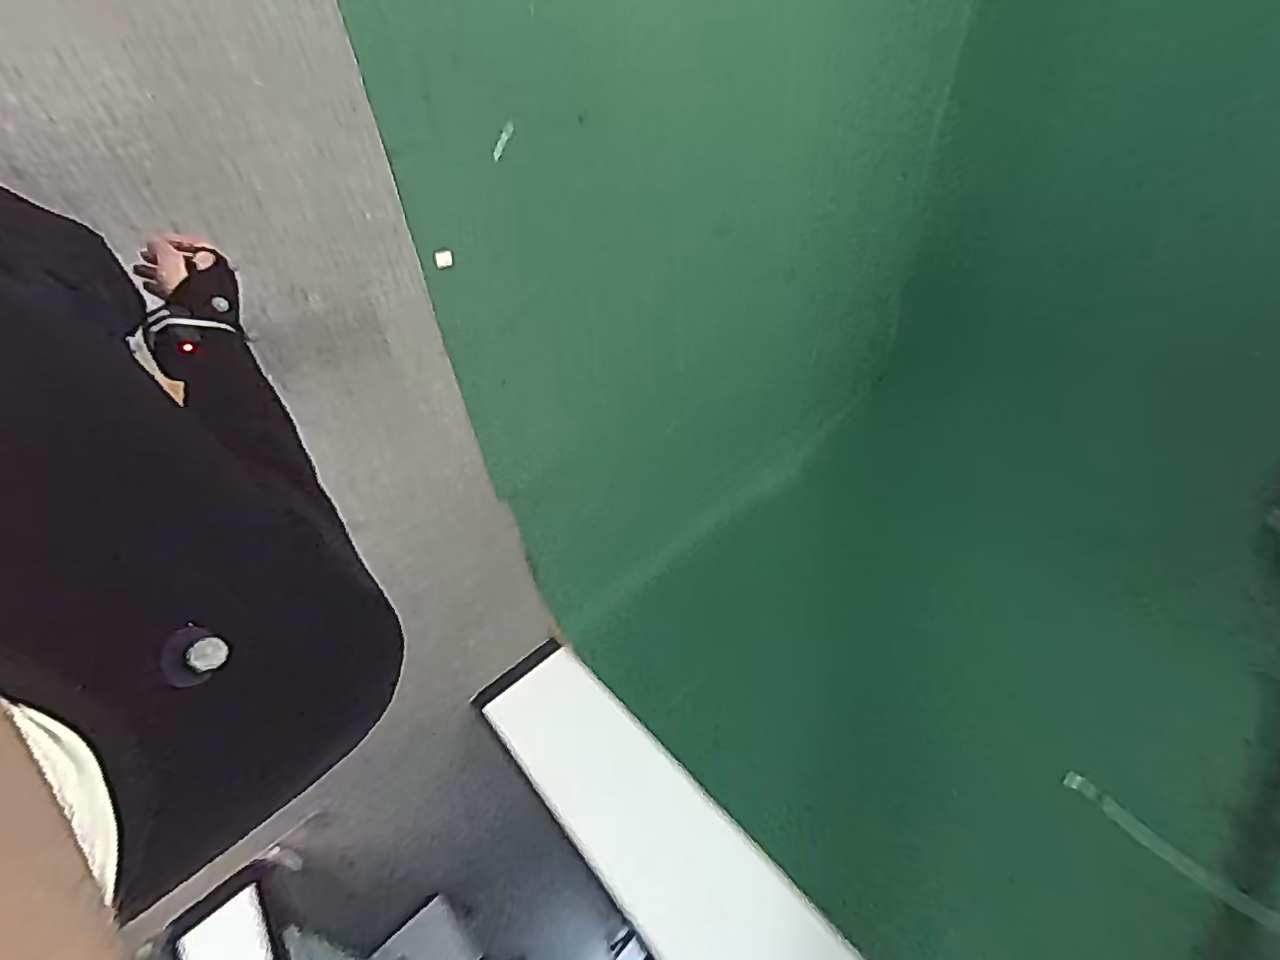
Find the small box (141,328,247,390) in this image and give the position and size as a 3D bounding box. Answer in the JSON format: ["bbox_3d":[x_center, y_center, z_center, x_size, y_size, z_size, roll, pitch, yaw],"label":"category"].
[{"bbox_3d":[-1.009,-0.241,1.251,0.168,0.176,0.179,-27,133,-32],"label":"small box"}]

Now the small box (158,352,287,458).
[{"bbox_3d":[-0.904,-0.162,1.169,0.179,0.176,0.168,9,106,-50],"label":"small box"}]
